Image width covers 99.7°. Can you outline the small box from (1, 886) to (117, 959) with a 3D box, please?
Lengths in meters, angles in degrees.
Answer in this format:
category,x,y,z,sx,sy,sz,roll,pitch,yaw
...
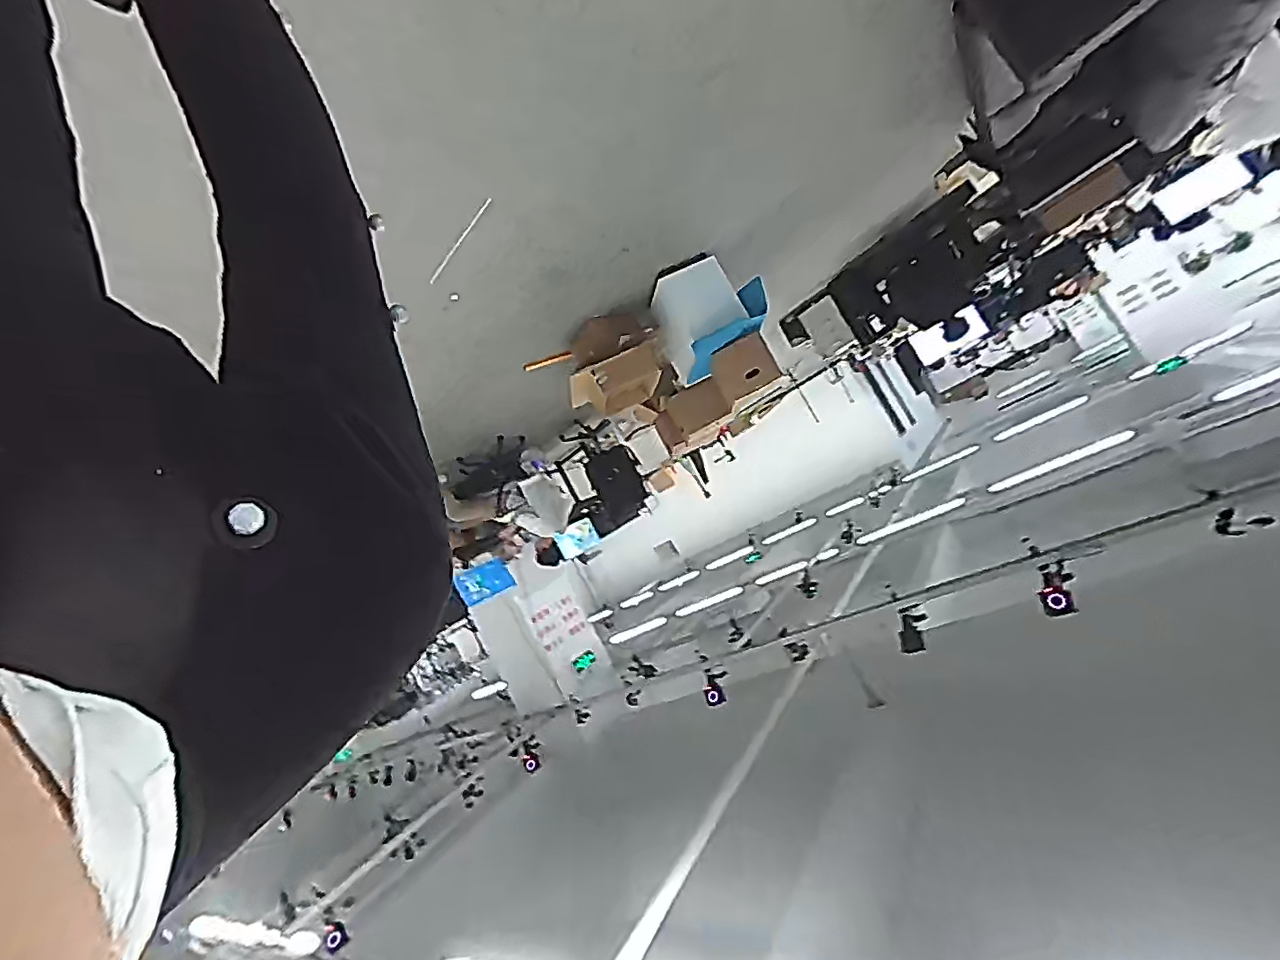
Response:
category,x,y,z,sx,sy,sz,roll,pitch,yaw
small box,-1.581,1.247,1.472,0.168,0.176,0.179,-32,173,36
